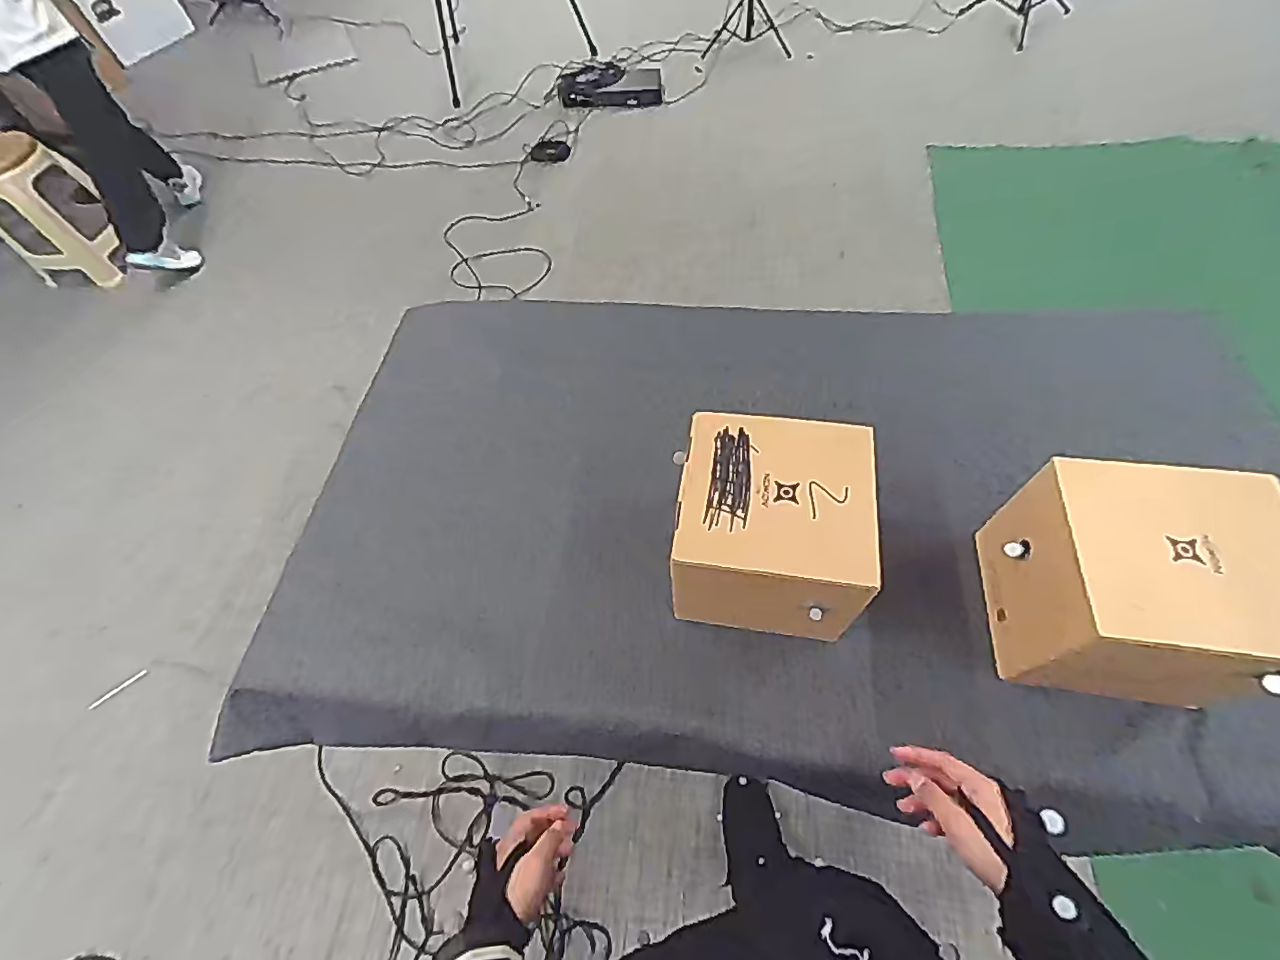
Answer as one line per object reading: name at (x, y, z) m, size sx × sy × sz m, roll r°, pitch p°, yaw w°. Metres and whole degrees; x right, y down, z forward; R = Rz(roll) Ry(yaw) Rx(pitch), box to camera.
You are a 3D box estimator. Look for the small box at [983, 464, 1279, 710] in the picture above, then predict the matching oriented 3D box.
small box at (0.446, 0.103, 0.498) m, size 0.179 × 0.176 × 0.168 m, roll 5°, pitch 59°, yaw 9°
